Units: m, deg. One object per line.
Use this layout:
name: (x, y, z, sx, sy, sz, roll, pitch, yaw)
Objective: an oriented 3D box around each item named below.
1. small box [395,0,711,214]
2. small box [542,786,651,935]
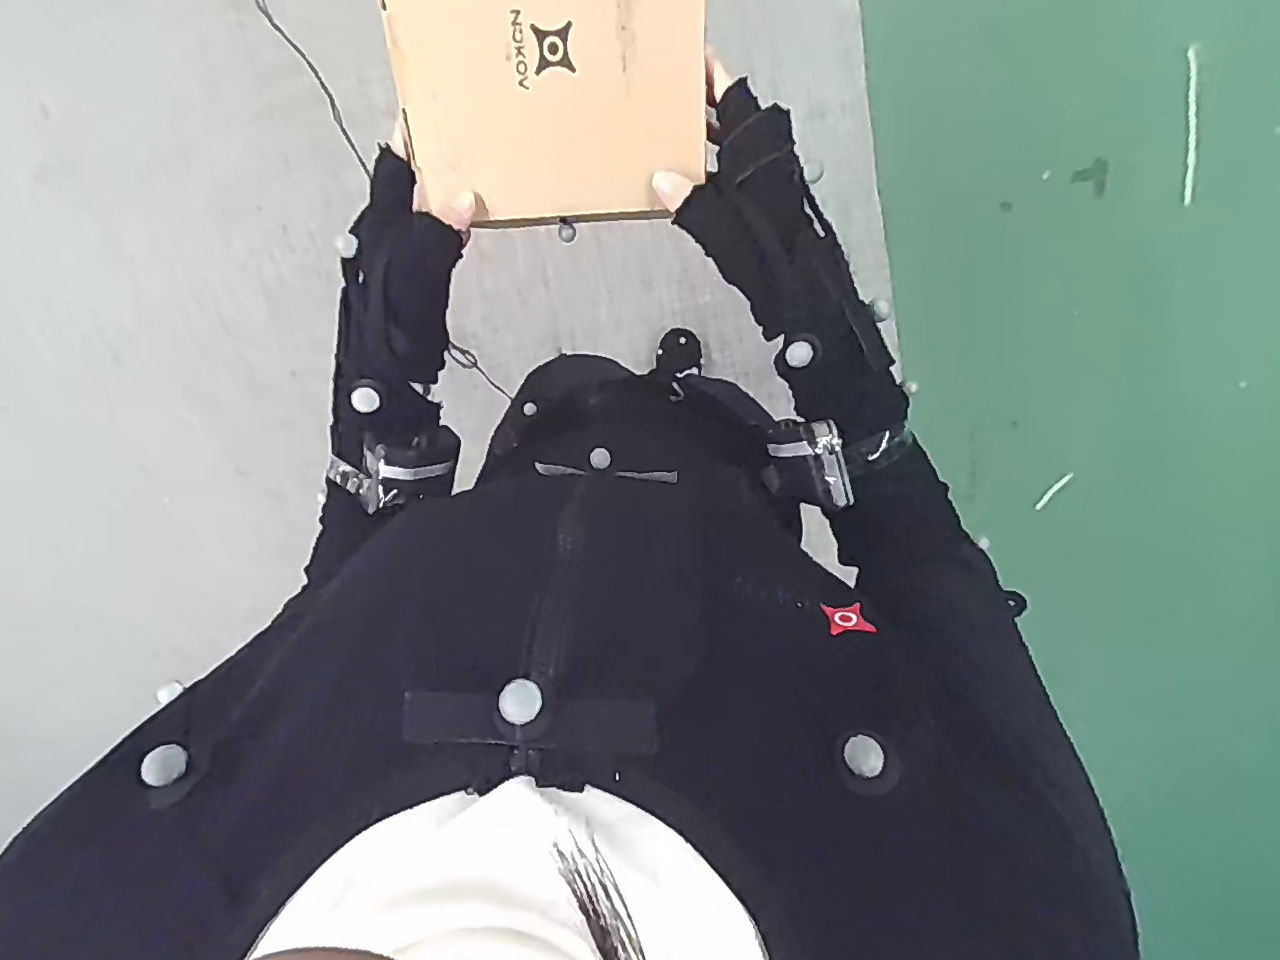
small box: (-0.047, -0.284, 0.375, 0.179, 0.176, 0.168, -4, 115, 2)
small box: (-0.077, 0.735, 1.065, 0.168, 0.176, 0.179, -13, 102, 6)
